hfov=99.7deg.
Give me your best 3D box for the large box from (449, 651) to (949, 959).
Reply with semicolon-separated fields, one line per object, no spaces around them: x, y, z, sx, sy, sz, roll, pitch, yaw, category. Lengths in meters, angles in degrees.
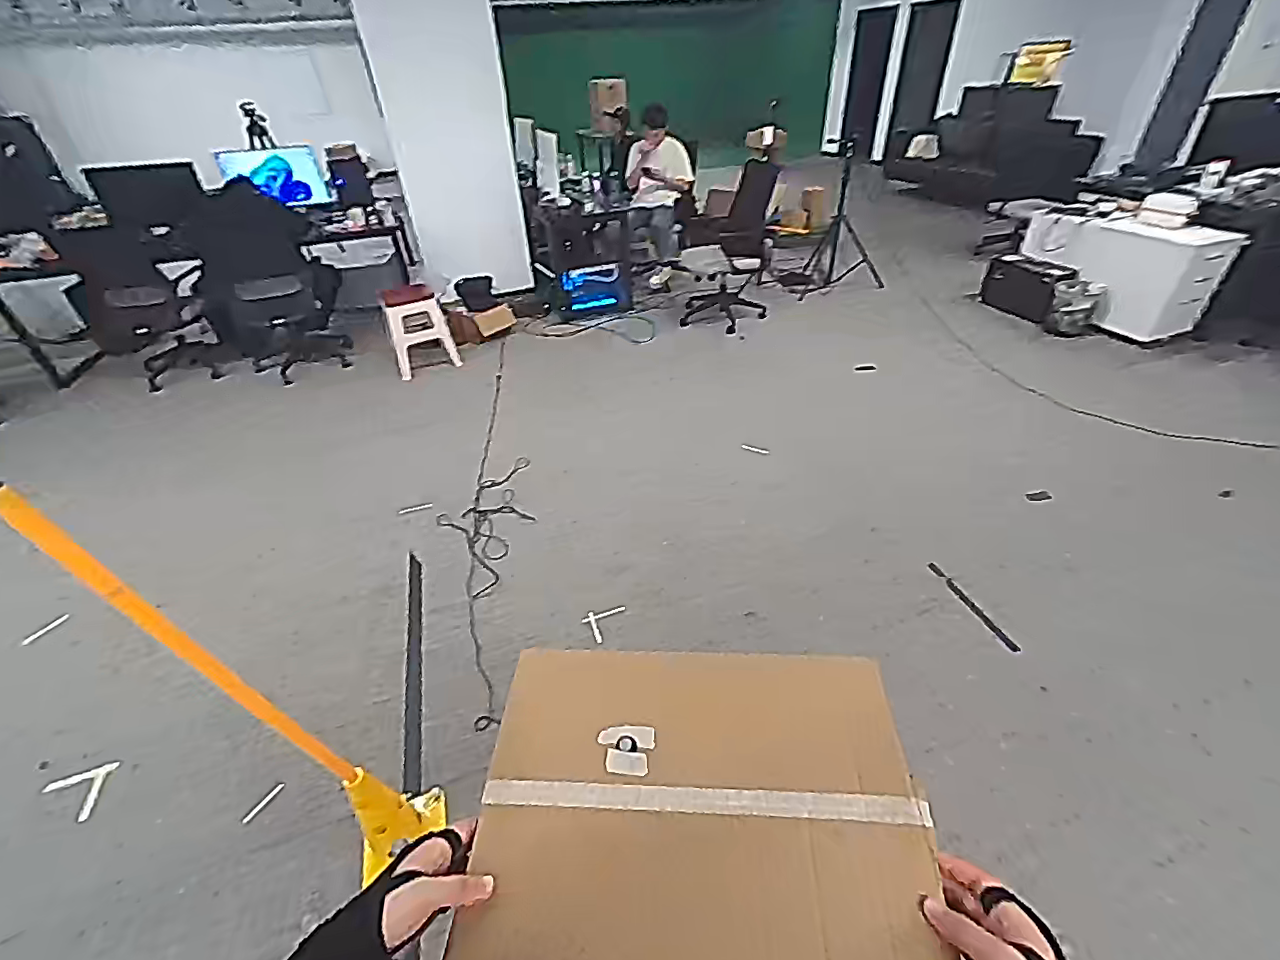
0.062;0.415;0.614;0.408;0.320;0.320;-2;40;6;large box
